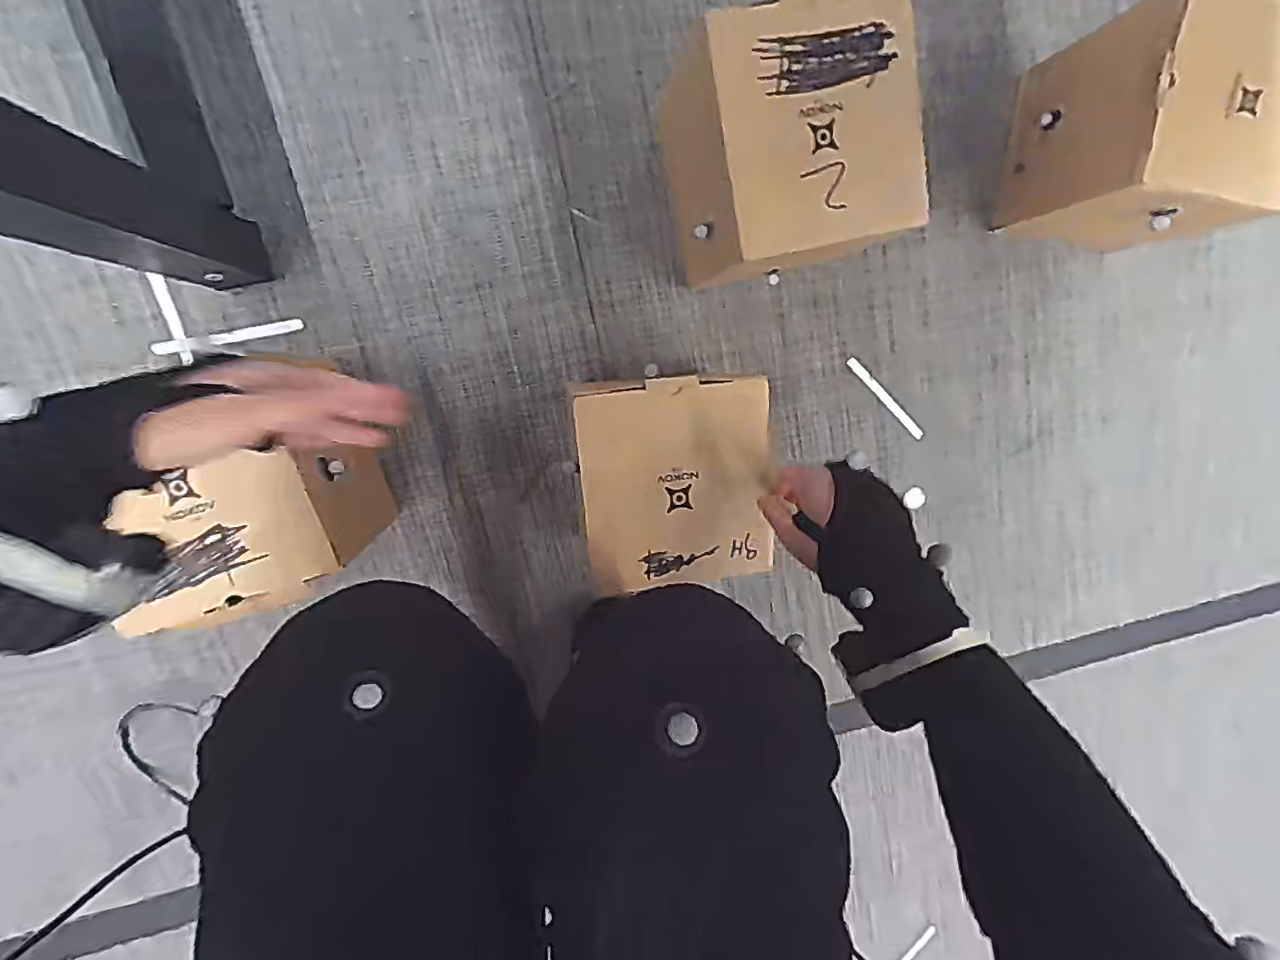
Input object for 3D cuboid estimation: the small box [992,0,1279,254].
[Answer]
[{"bbox_3d":[0.515,-0.342,0.555,0.179,0.176,0.168,4,100,-10],"label":"small box"}]
